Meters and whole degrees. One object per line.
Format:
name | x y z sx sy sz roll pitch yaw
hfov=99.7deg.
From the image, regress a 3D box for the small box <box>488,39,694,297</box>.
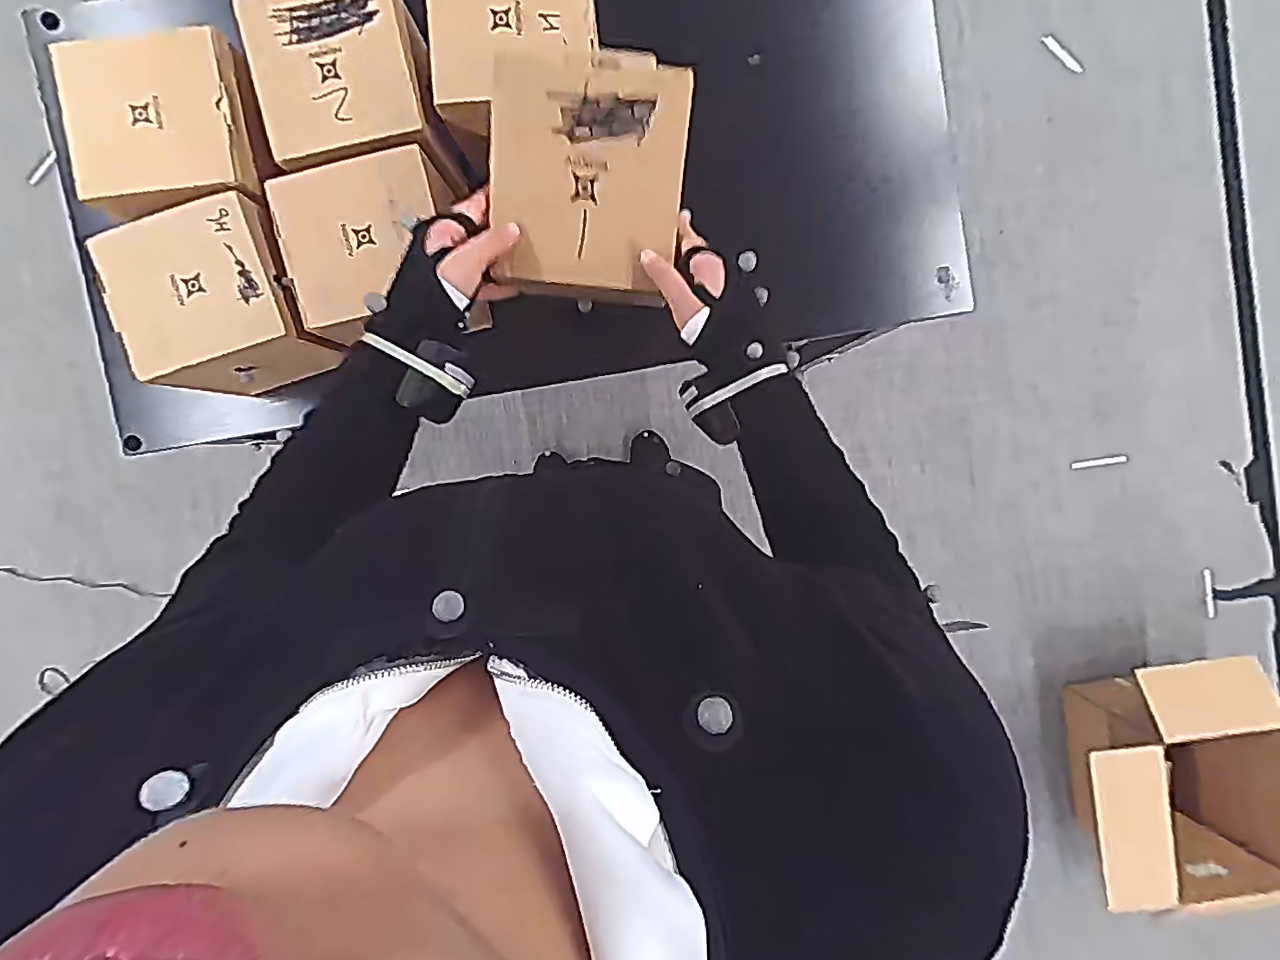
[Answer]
small box | -0.046 -0.286 0.537 0.168 0.176 0.179 5 105 -1
